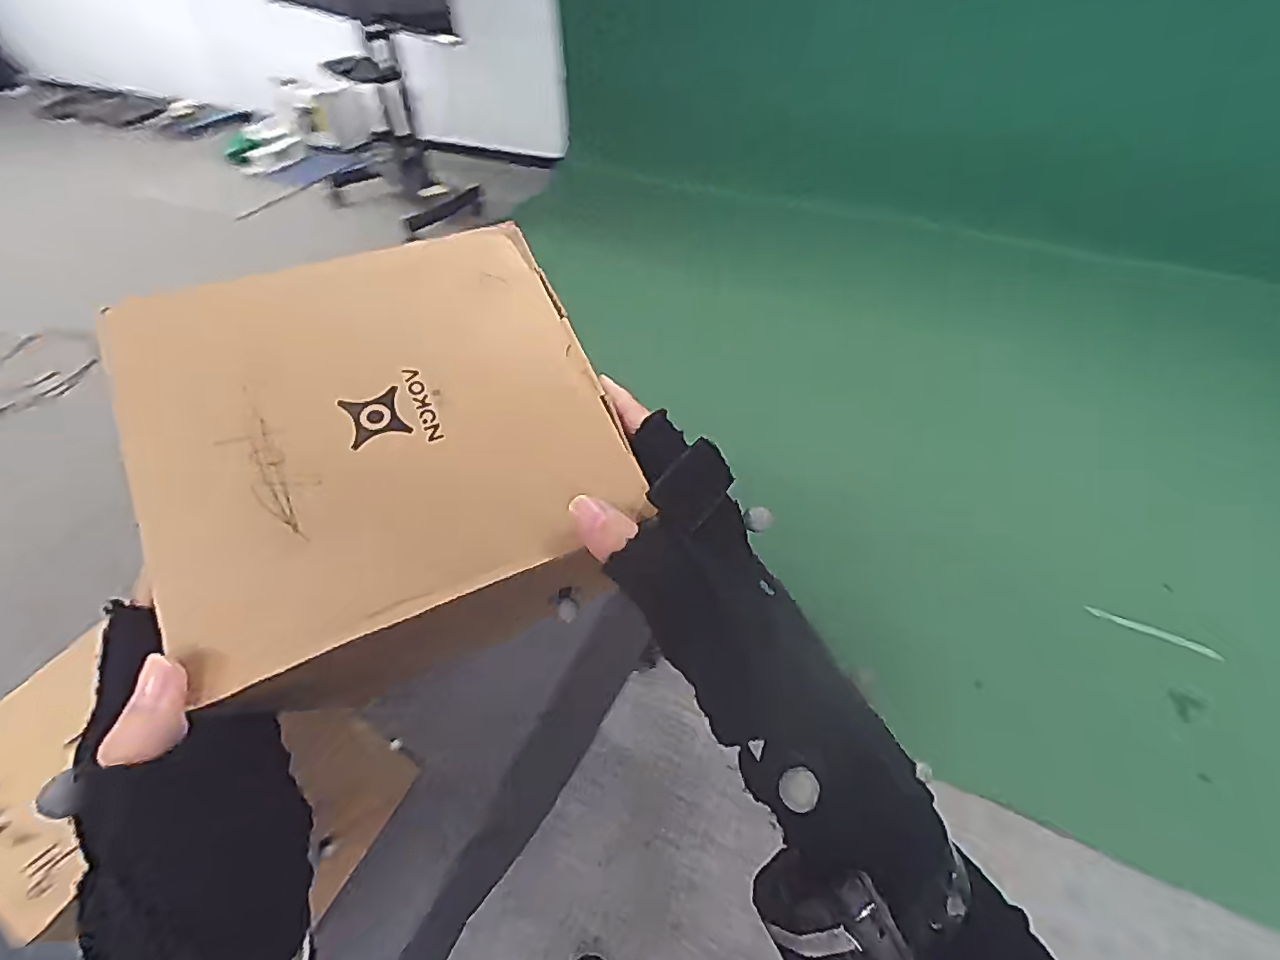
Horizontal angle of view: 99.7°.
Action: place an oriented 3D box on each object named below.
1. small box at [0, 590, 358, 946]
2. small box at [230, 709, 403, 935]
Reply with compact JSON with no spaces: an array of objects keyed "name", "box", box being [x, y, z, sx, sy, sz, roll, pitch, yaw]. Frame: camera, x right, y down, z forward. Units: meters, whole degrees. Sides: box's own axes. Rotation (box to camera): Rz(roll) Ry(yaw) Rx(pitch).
[{"name":"small box","box":[-0.360,0.226,0.431,0.168,0.176,0.179,19,51,16]},{"name":"small box","box":[-0.375,0.325,0.558,0.168,0.176,0.179,18,51,17]}]
